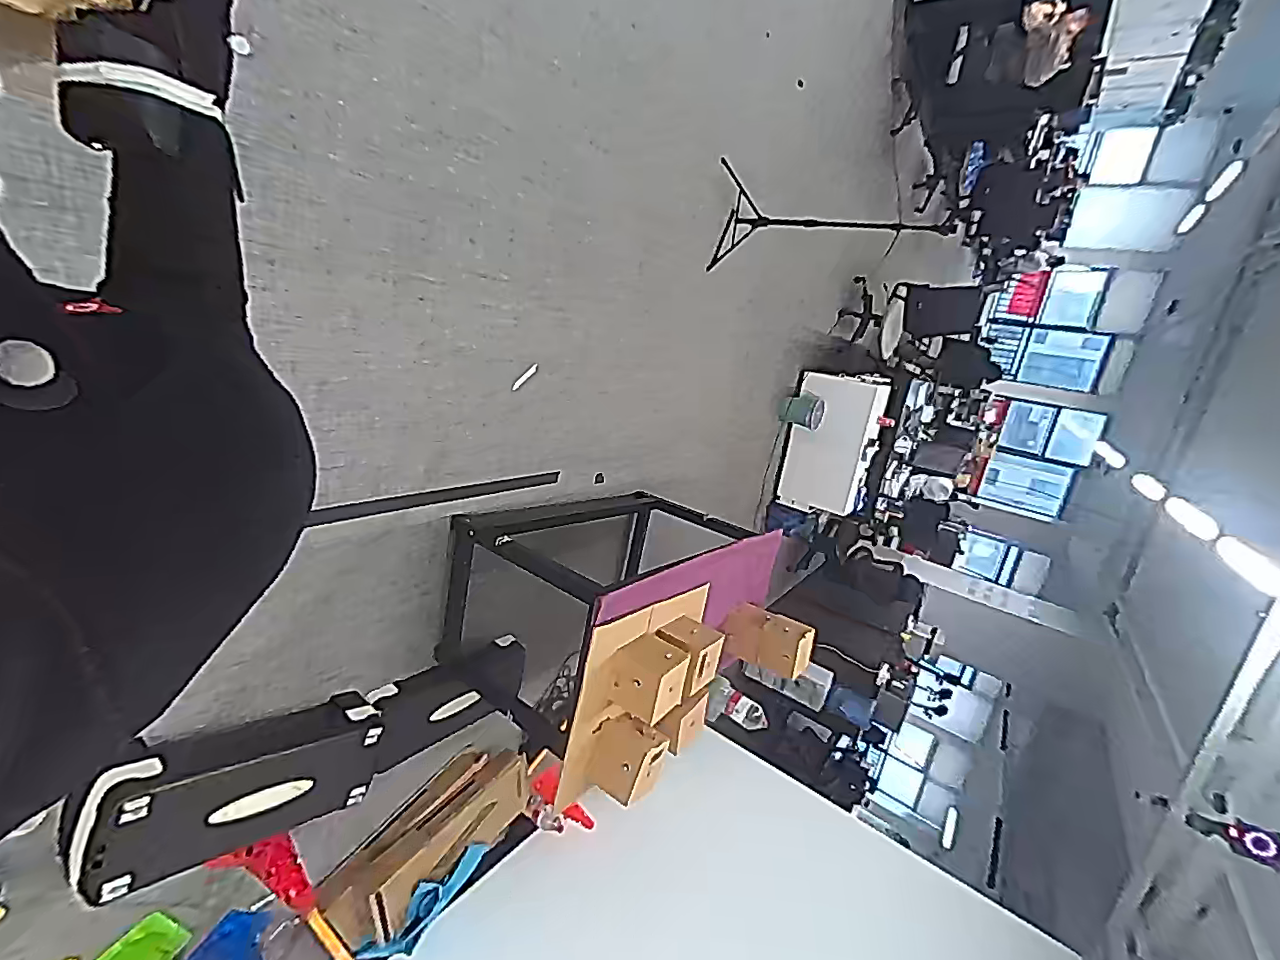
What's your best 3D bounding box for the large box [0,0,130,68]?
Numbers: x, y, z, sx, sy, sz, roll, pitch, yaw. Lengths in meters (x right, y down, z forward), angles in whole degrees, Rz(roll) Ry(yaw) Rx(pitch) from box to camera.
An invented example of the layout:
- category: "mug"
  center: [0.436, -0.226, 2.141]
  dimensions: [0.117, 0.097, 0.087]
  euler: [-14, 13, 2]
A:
- category: "large box"
  center: [-0.539, -0.440, 0.221]
  dimensions: [0.408, 0.320, 0.320]
  euler: [-15, 123, -58]
